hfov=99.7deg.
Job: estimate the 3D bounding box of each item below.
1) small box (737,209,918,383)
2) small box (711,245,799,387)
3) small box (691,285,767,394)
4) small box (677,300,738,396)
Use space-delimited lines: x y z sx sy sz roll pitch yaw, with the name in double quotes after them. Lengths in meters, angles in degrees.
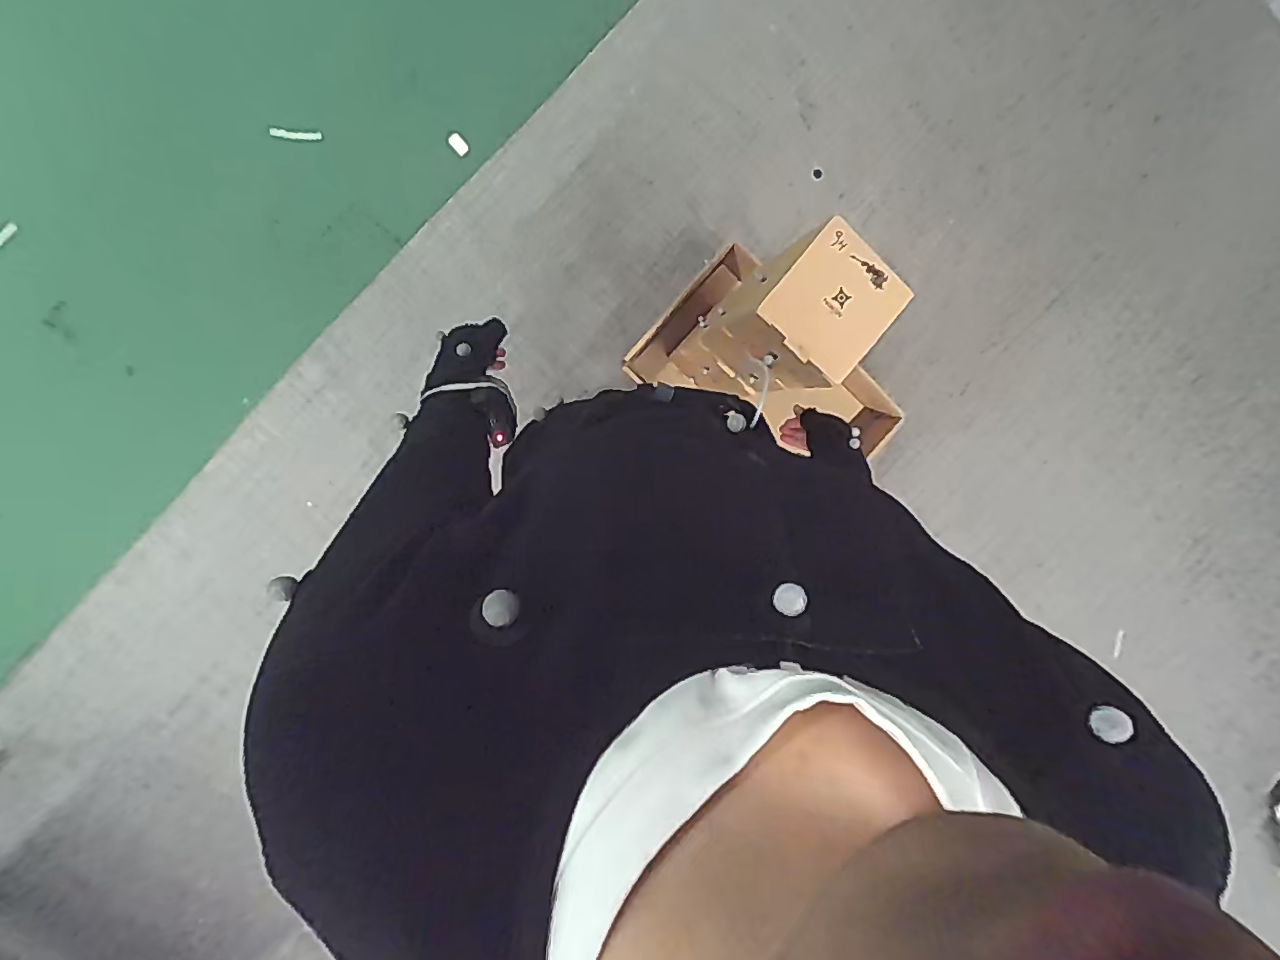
0.268 -0.265 0.827 0.168 0.176 0.179 38 93 -11 "small box"
0.247 -0.285 0.988 0.168 0.176 0.179 38 92 -11 "small box"
0.228 -0.301 1.150 0.168 0.176 0.179 39 92 -10 "small box"
0.210 -0.322 1.310 0.168 0.176 0.179 41 92 -9 "small box"
